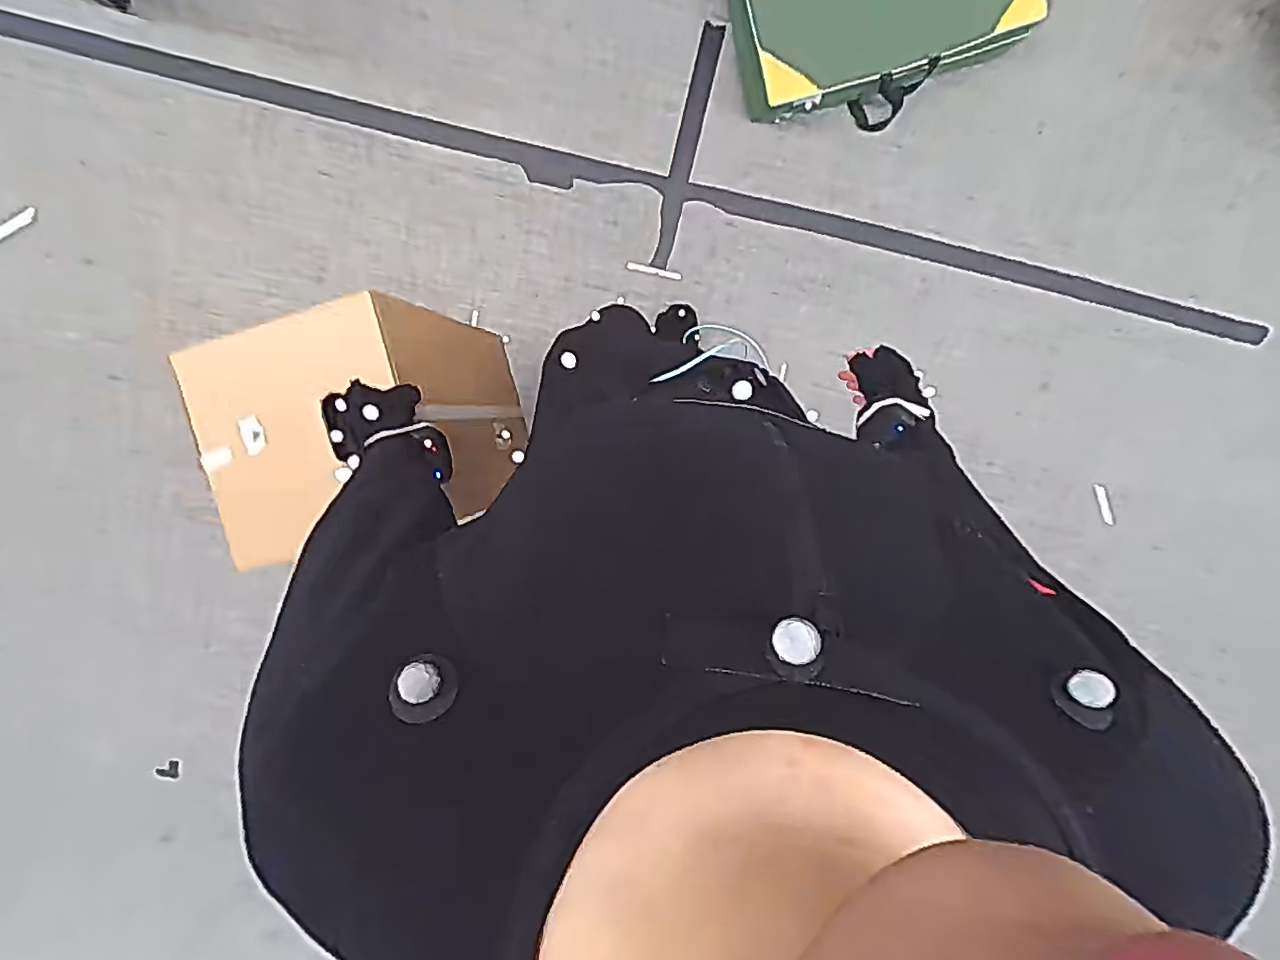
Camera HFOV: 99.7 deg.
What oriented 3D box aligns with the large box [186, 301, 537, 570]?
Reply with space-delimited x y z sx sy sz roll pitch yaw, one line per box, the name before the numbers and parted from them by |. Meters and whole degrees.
large box | -0.423 -0.076 0.923 0.320 0.408 0.320 -14 95 10
